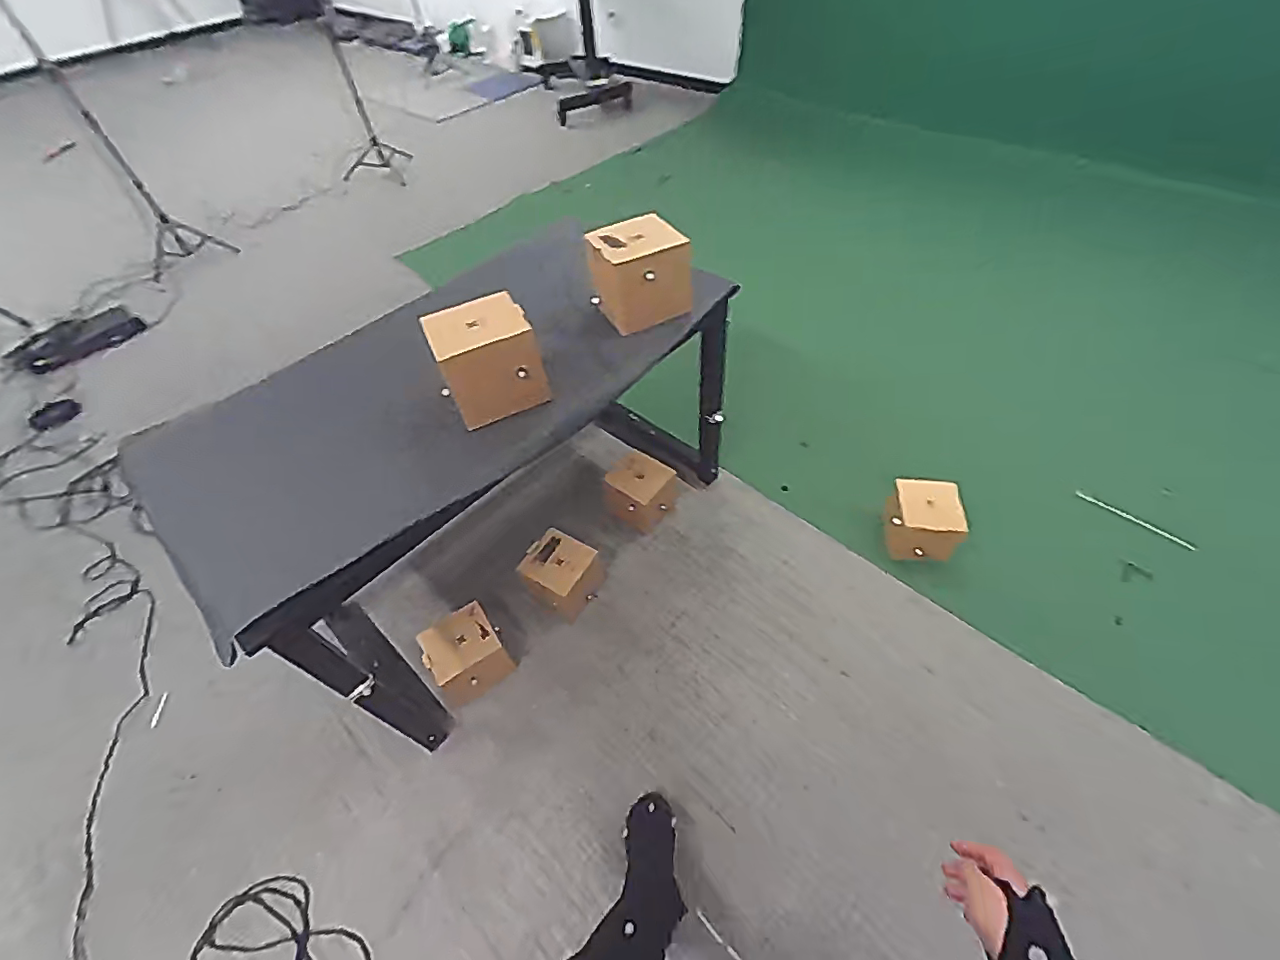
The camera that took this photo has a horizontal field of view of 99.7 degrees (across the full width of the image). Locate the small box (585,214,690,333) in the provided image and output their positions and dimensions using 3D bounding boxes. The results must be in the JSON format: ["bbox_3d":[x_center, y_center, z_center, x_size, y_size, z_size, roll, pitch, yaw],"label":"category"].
[{"bbox_3d":[-0.001,-0.453,1.193,0.179,0.176,0.168,-24,51,-12],"label":"small box"}]

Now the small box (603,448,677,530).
[{"bbox_3d":[0.004,0.035,1.742,0.179,0.176,0.168,30,59,25],"label":"small box"}]

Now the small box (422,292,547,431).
[{"bbox_3d":[-0.291,-0.227,1.045,0.179,0.176,0.168,-25,50,-13],"label":"small box"}]

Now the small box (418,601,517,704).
[{"bbox_3d":[-0.454,0.464,1.442,0.179,0.176,0.168,-30,55,-19],"label":"small box"}]

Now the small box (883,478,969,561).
[{"bbox_3d":[0.840,0.117,1.609,0.168,0.176,0.179,4,52,8],"label":"small box"}]
